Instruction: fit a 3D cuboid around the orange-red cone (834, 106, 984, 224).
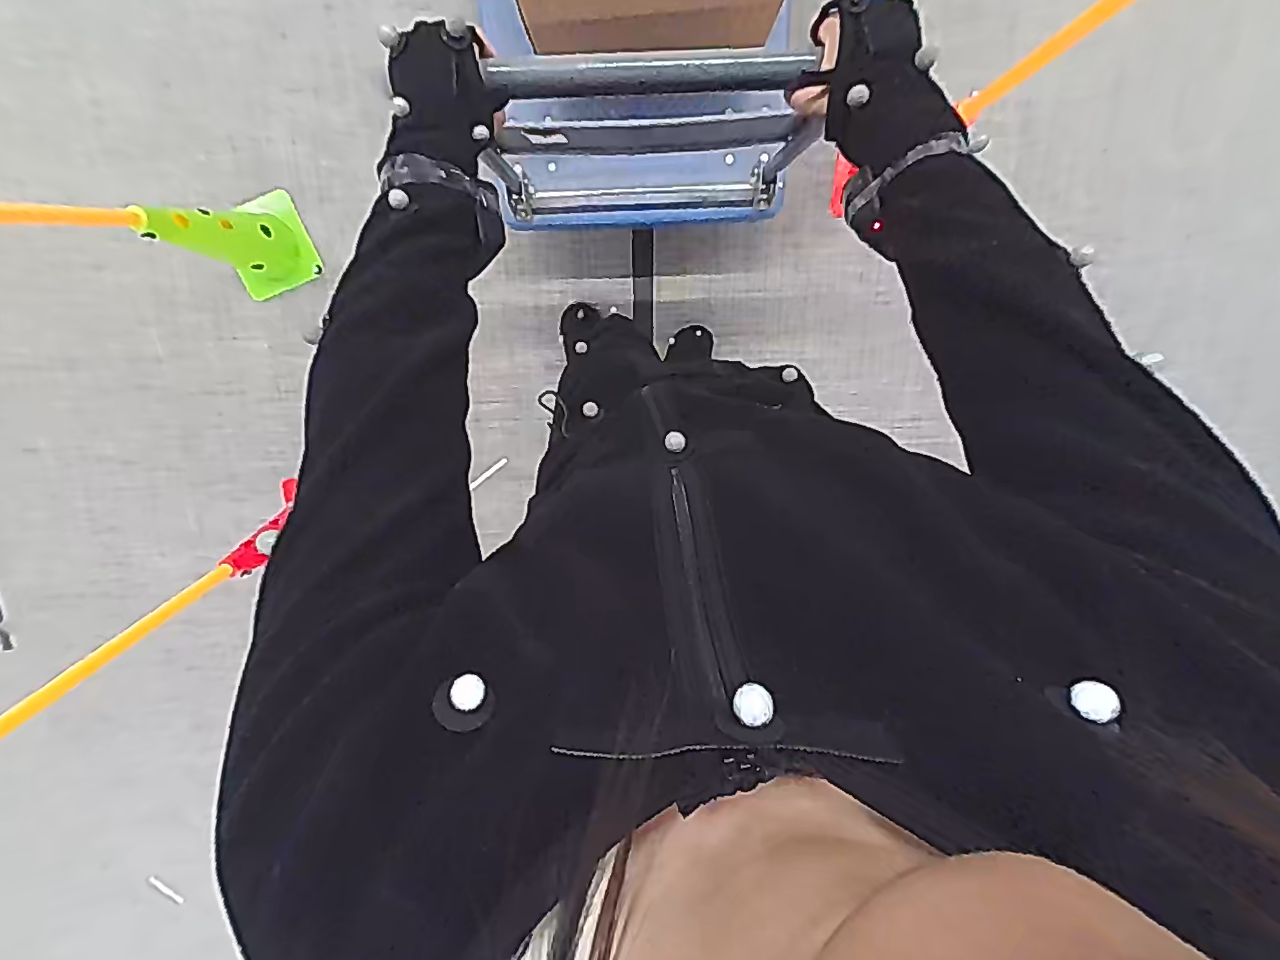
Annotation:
[{"bbox_3d":[0.554,-0.649,1.063,0.199,0.360,0.198,5,106,-2],"label":"orange-red cone"}]
